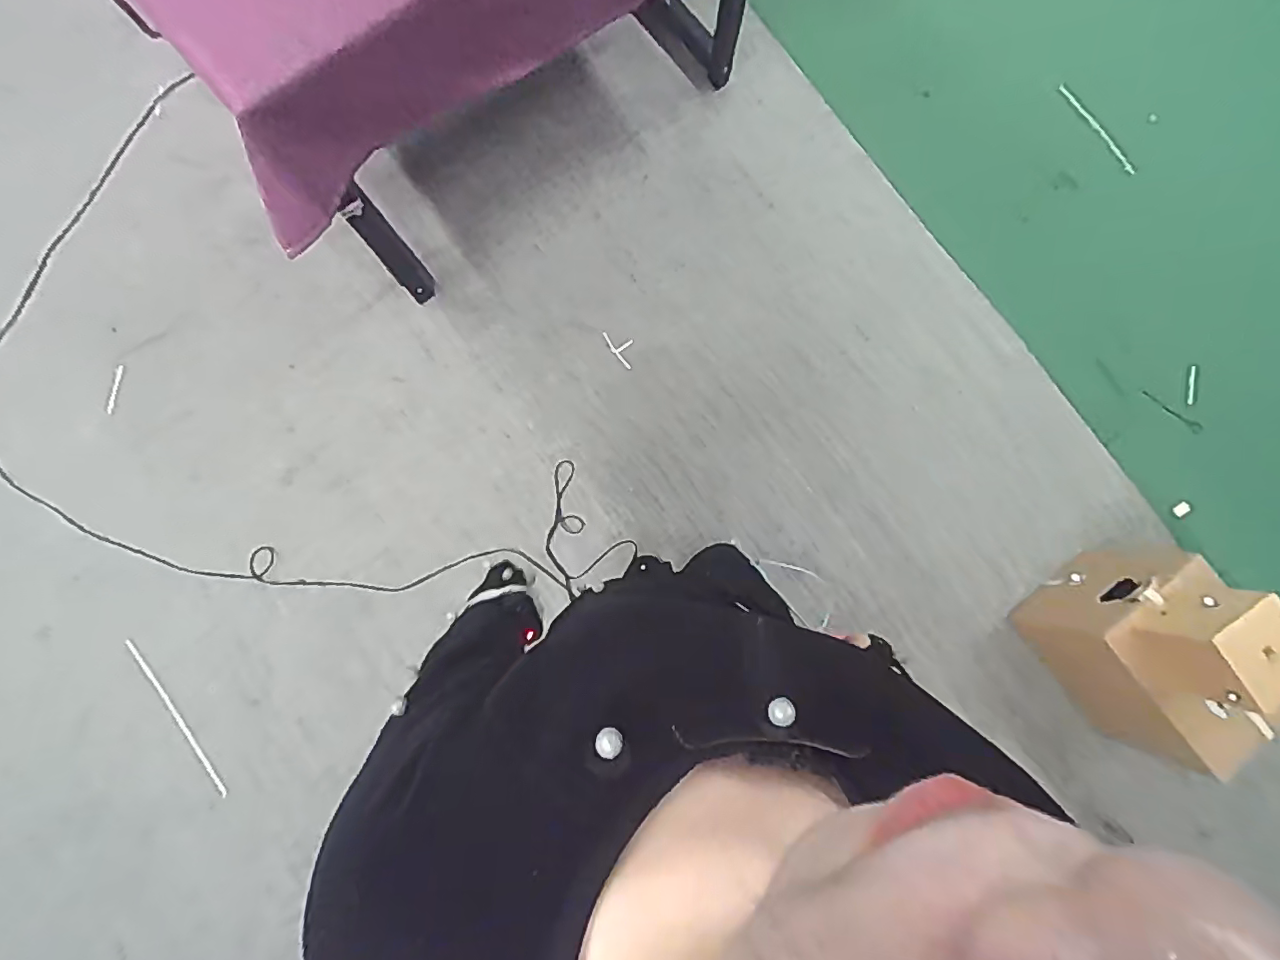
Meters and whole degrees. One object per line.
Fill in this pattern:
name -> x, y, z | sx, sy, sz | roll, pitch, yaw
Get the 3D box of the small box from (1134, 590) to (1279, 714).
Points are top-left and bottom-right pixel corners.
small box -> 1.204, 0.344, 1.125 | 0.168, 0.176, 0.179 | -33, 87, -4

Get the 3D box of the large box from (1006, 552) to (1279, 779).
large box -> 1.258, 0.432, 1.365 | 0.320, 0.320, 0.408 | -36, 87, -6
